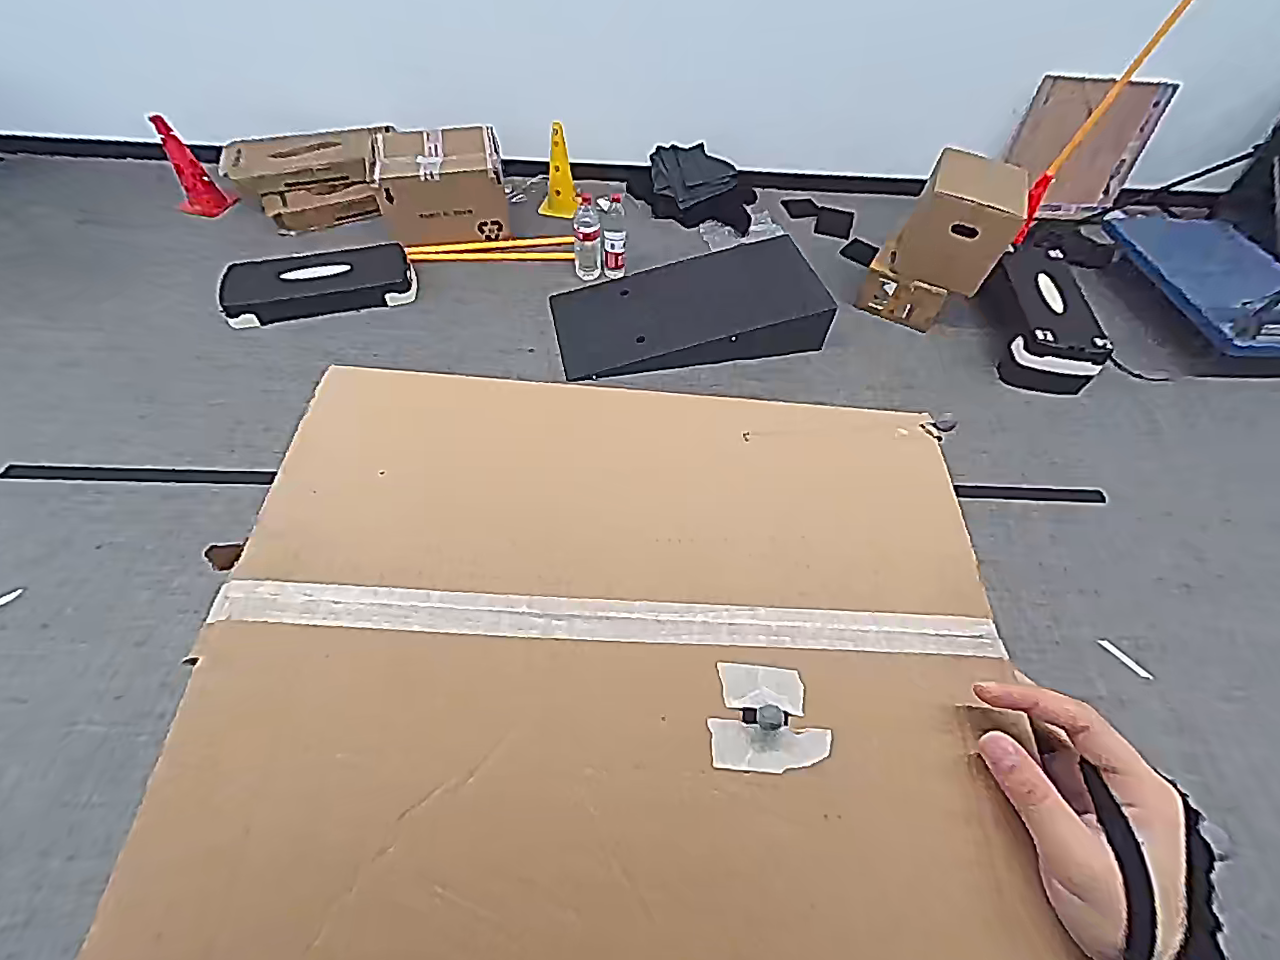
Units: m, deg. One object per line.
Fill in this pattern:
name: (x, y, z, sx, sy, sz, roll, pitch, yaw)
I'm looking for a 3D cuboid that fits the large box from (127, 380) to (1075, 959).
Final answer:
large box: (-0.017, 0.152, 0.424, 0.408, 0.320, 0.320, 5, 60, -5)
